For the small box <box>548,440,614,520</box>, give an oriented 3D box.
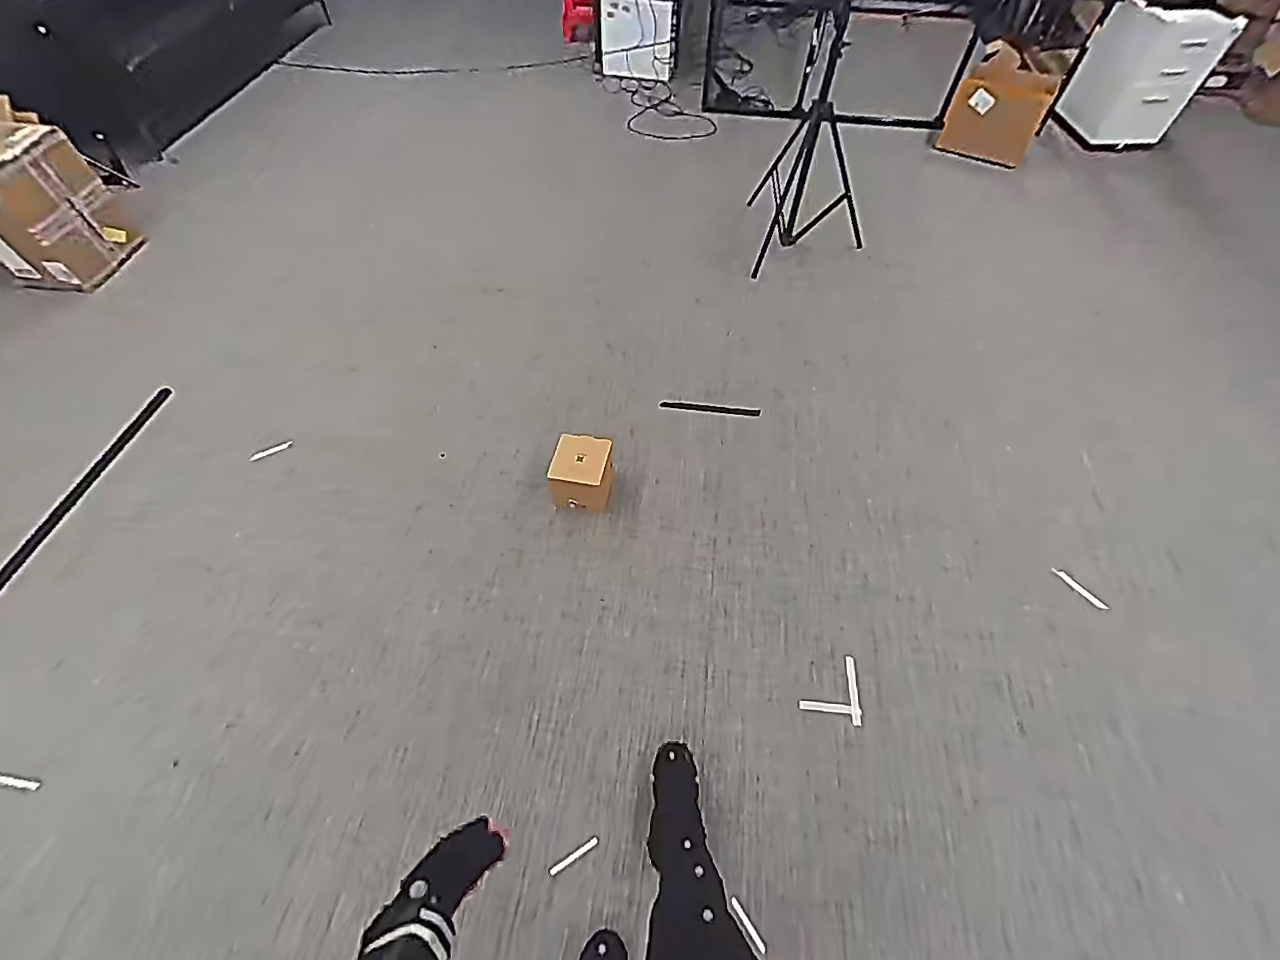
[{"bbox_3d":[-0.179,0.001,1.709,0.168,0.176,0.179,8,57,7],"label":"small box"}]
